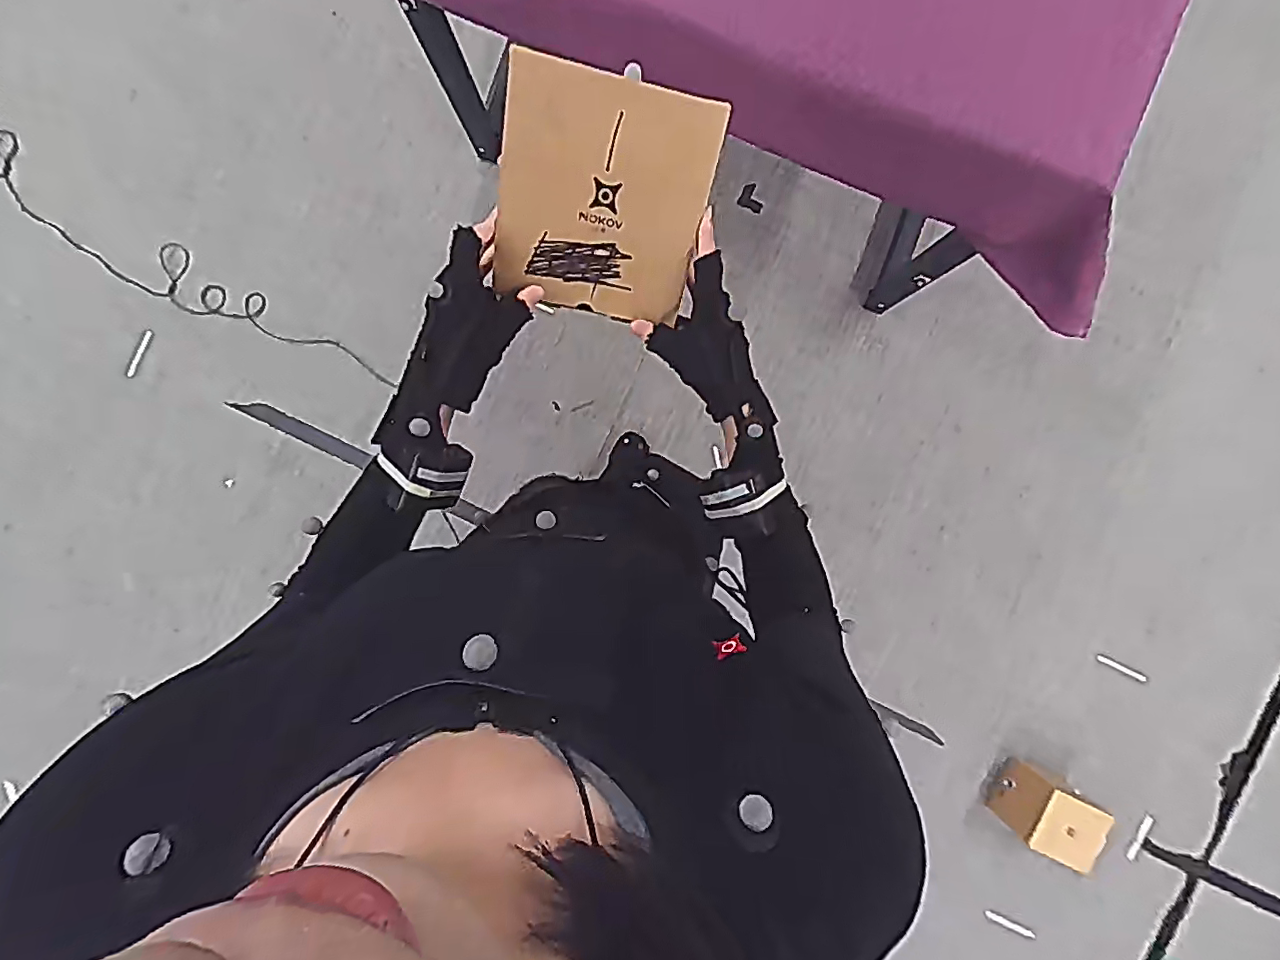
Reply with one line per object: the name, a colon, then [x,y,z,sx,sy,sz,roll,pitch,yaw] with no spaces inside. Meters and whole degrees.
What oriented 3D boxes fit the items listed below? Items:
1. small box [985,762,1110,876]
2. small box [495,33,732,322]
small box: [1.086,0.901,1.456,0.179,0.176,0.168,25,90,0]
small box: [-0.029,-0.270,0.500,0.168,0.176,0.179,10,121,-8]
